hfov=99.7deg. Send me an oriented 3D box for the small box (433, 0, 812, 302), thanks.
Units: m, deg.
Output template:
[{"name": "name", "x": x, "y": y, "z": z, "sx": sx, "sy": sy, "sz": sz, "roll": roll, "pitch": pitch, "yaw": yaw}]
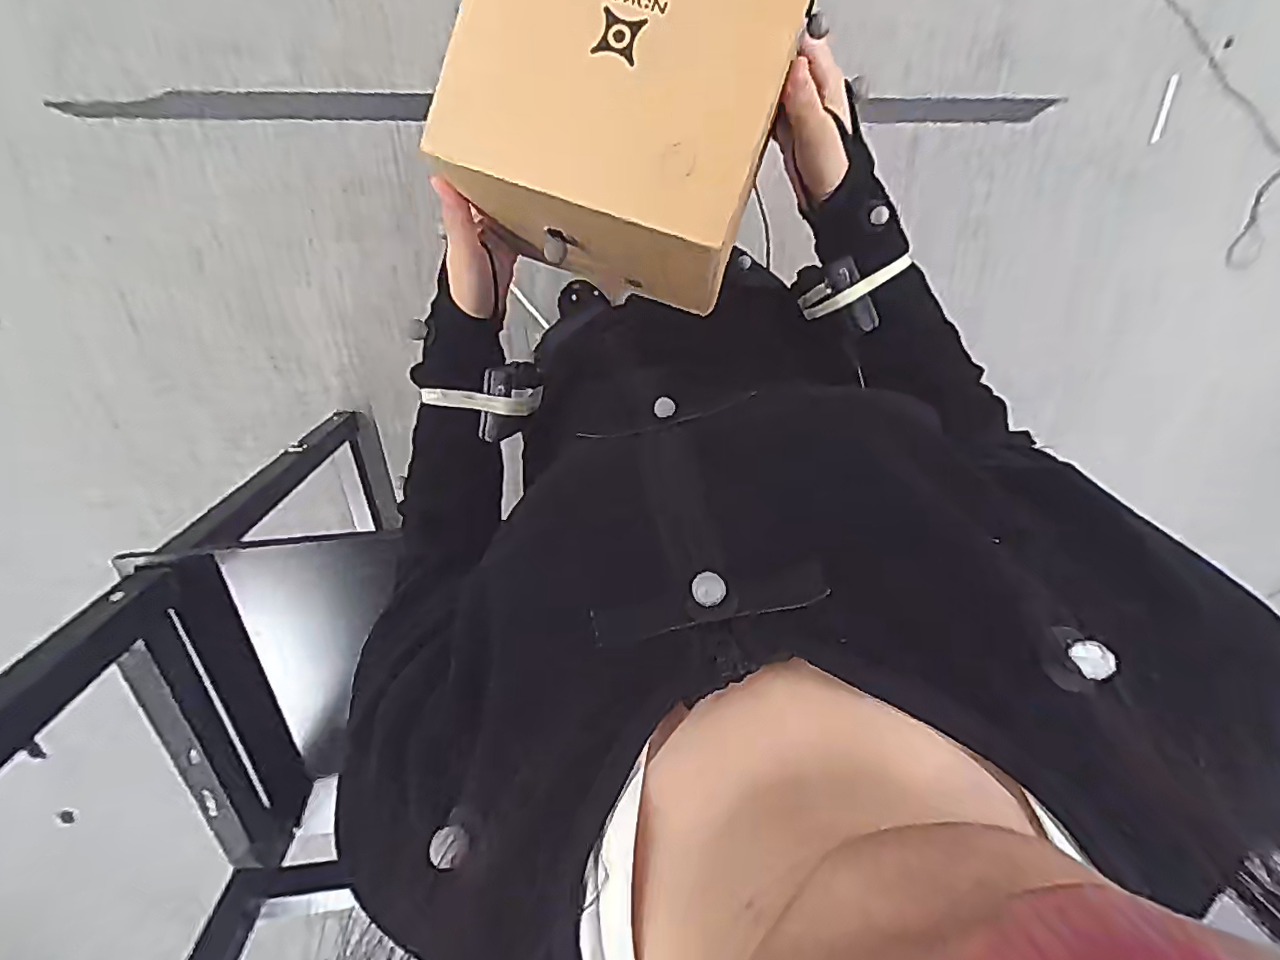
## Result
[{"name": "small box", "x": 0.001, "y": -0.234, "z": 0.346, "sx": 0.168, "sy": 0.176, "sz": 0.179, "roll": 19, "pitch": 96, "yaw": 2}]
